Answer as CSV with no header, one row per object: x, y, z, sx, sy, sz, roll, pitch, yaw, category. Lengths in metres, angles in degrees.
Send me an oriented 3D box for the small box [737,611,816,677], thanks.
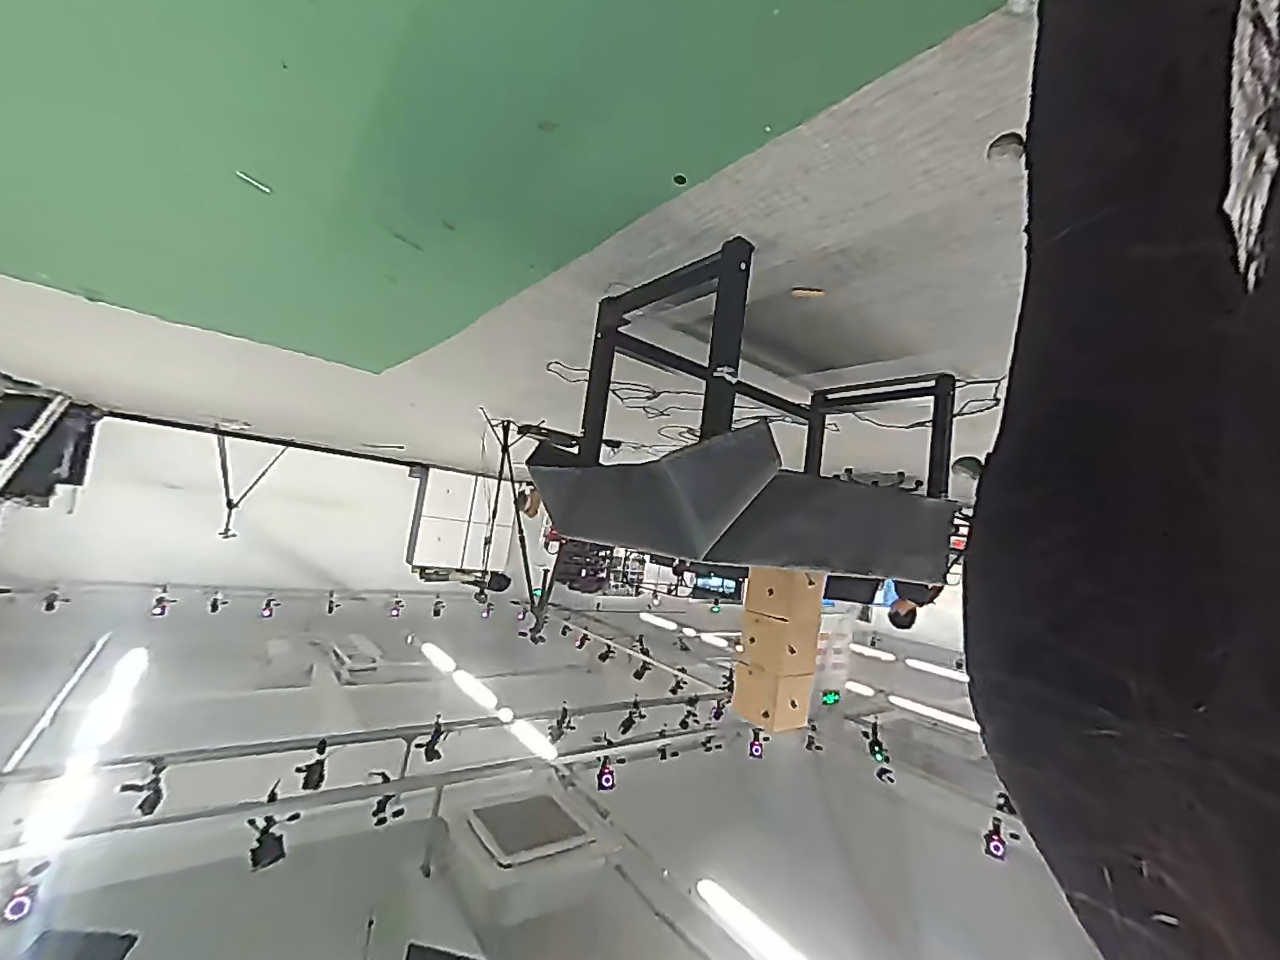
0.429,0.507,1.699,0.179,0.176,0.168,12,174,-36,small box

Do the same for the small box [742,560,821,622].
0.451,0.346,1.710,0.168,0.176,0.179,12,173,-38,small box
